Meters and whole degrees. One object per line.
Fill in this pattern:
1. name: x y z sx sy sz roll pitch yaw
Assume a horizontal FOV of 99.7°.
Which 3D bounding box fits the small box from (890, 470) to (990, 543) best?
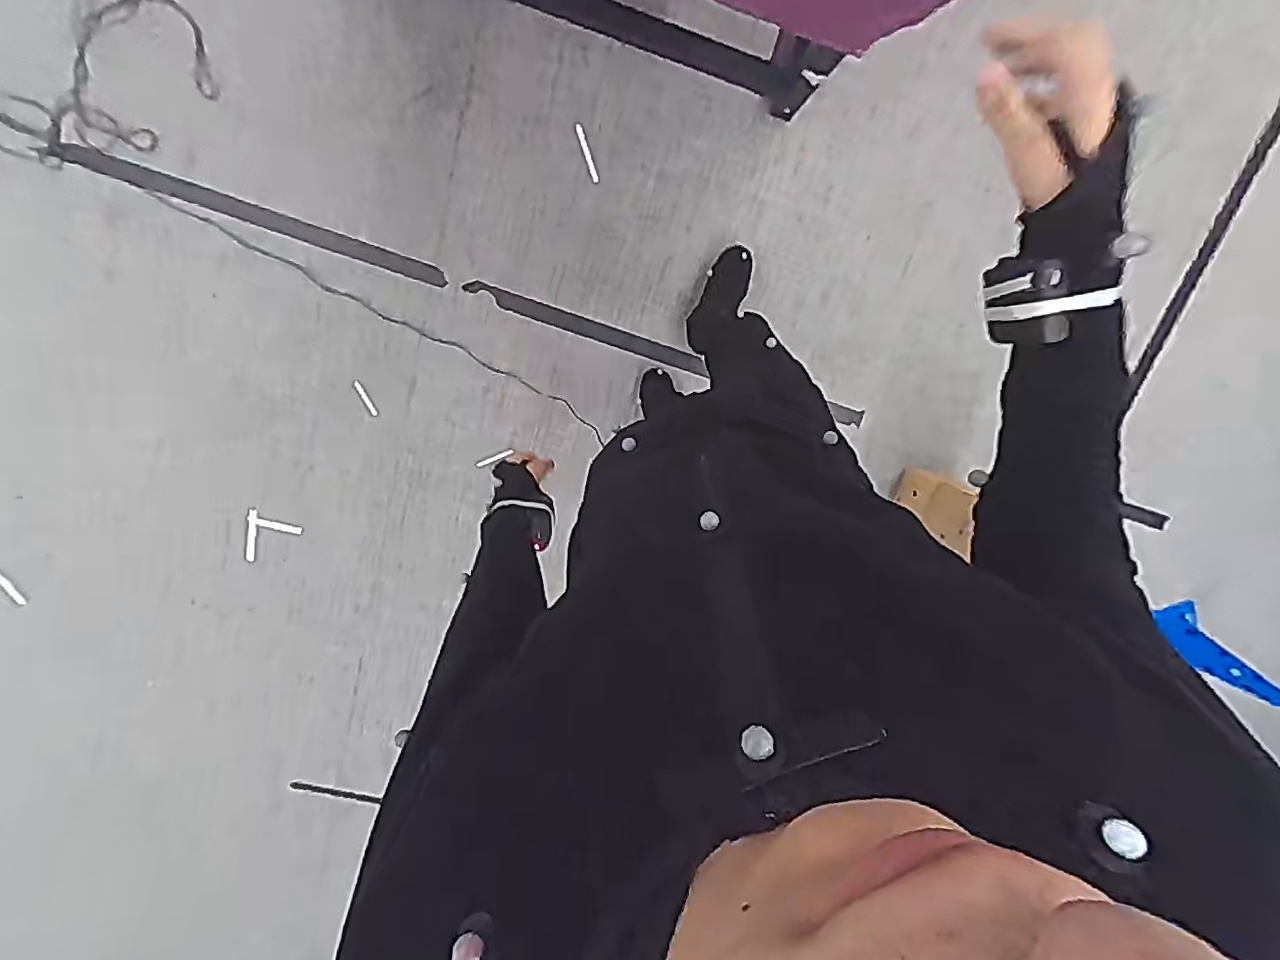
1. small box: 0.884 0.078 1.613 0.179 0.176 0.168 12 106 -6
